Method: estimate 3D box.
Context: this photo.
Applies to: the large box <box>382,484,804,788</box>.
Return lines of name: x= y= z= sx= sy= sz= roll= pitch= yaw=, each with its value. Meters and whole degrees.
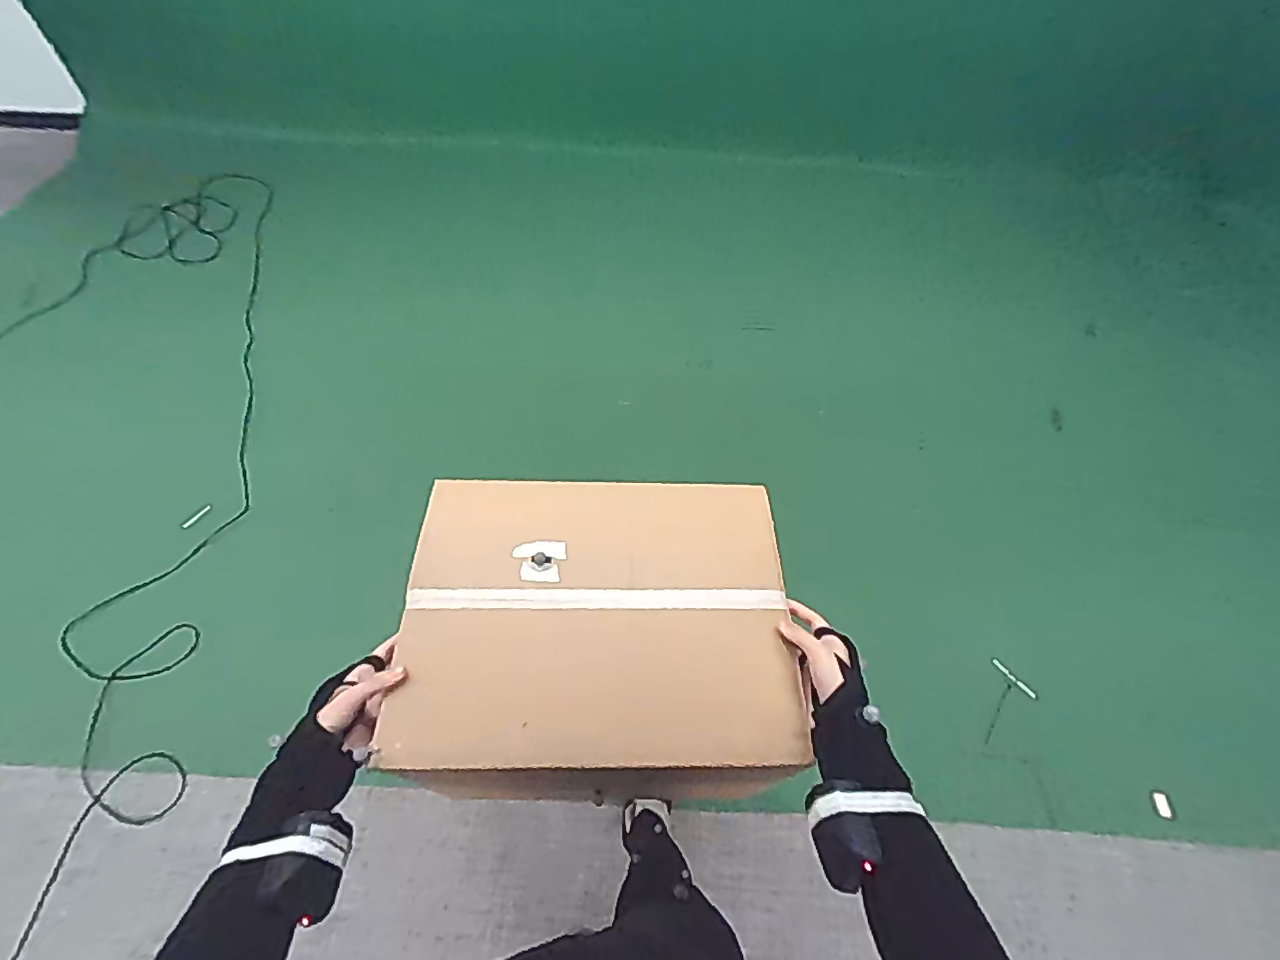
large box: x=-0.048 y=0.216 z=0.710 sx=0.408 sy=0.320 sz=0.320 roll=1 pitch=55 yaw=-2
